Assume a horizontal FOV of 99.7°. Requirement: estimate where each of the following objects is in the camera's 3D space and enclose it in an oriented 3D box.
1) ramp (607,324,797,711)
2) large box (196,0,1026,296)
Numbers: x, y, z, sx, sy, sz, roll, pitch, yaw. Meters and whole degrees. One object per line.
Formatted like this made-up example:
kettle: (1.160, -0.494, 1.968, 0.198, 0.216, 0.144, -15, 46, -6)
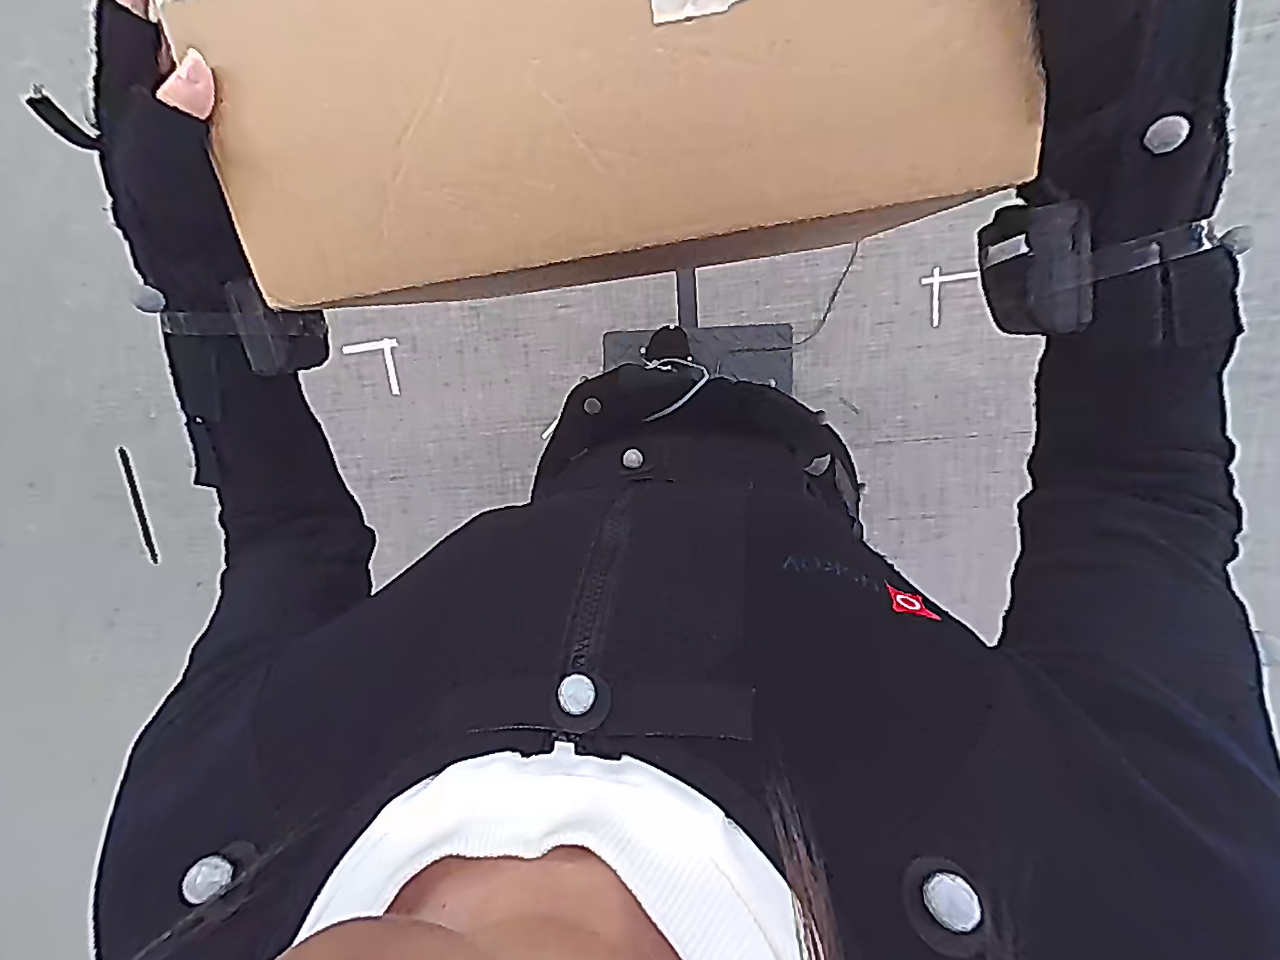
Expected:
ramp: (0.157, 0.103, 1.425, 0.509, 0.206, 0.991, -2, 101, 10)
large box: (-0.019, -0.325, 0.385, 0.408, 0.320, 0.320, -6, 109, 9)
